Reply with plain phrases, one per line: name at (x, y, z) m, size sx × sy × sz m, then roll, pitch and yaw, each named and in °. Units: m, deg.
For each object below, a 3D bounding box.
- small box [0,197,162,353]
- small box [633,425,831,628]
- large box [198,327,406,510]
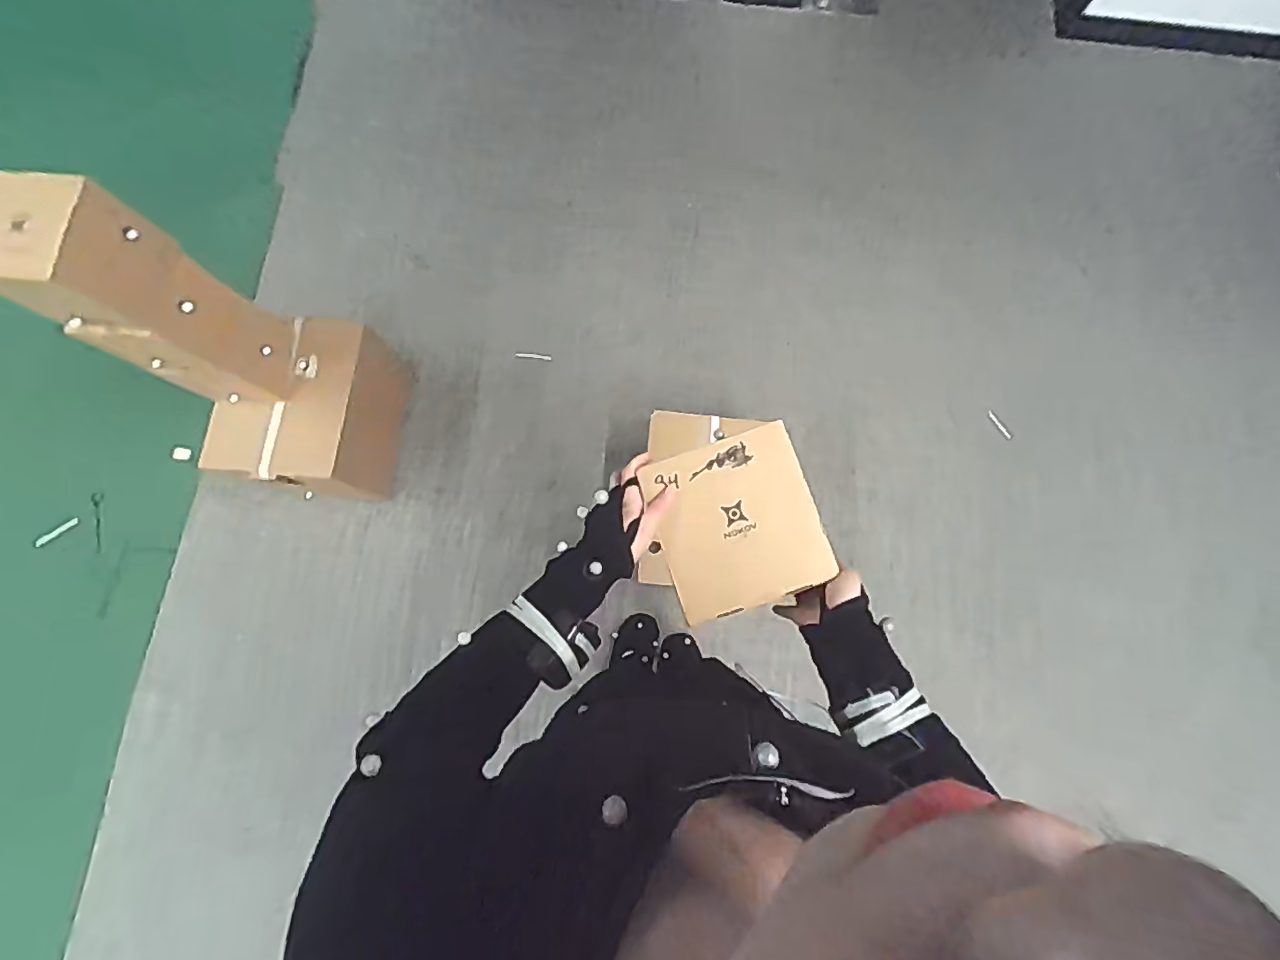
small box at (-0.935, -0.325, 0.875) m, size 0.168 × 0.176 × 0.179 m, roll 4°, pitch 80°, yaw 4°
small box at (0.098, 0.053, 0.645) m, size 0.168 × 0.176 × 0.179 m, roll -19°, pitch 85°, yaw -1°
large box at (-0.852, -0.142, 1.419) m, size 0.320 × 0.320 × 0.408 m, roll 3°, pitch 77°, yaw 1°
